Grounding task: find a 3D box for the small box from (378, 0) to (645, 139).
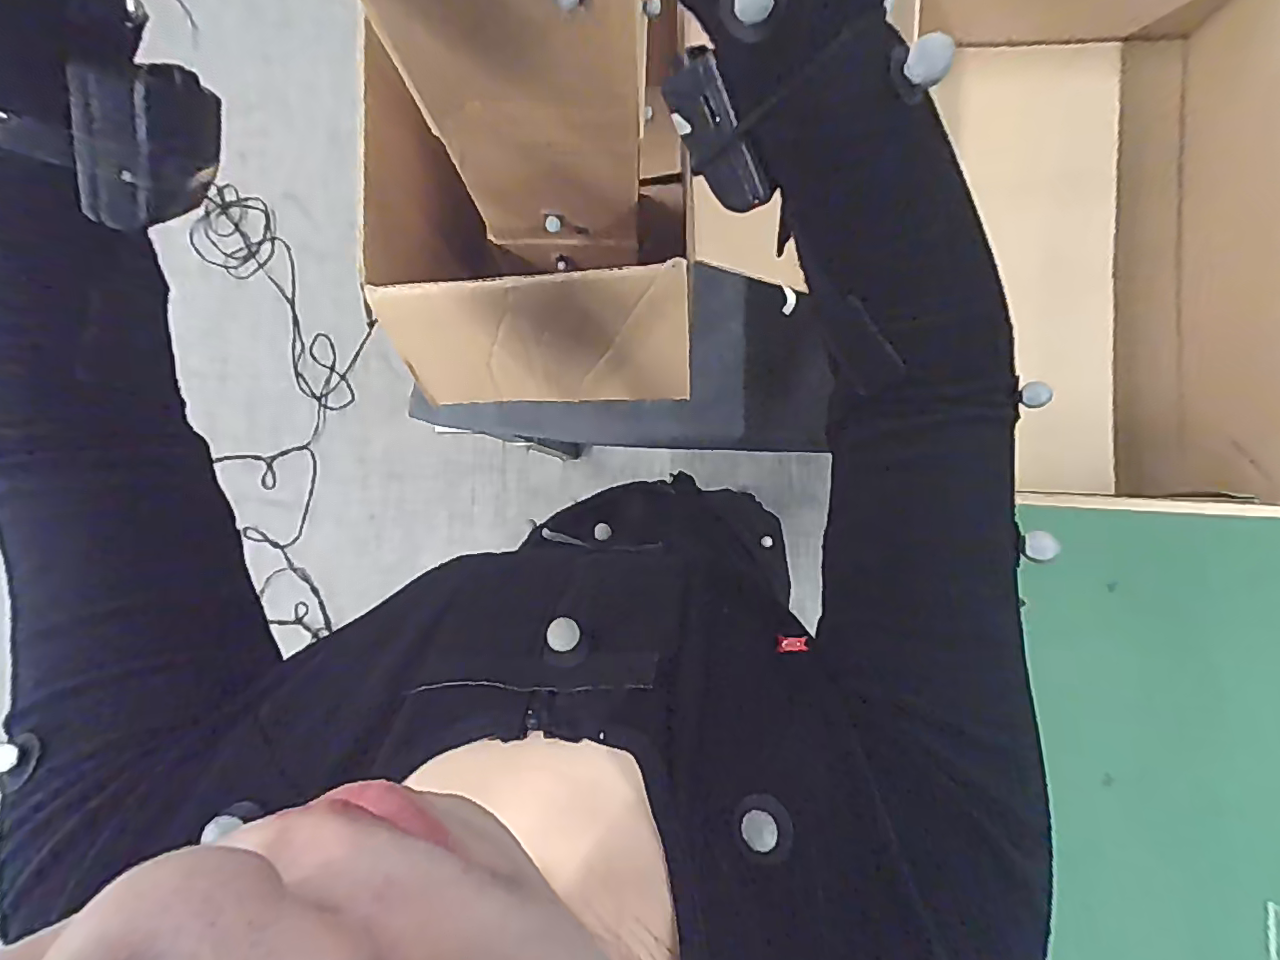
[{"bbox_3d":[-0.084,-0.371,0.377,0.179,0.176,0.168,2,87,-1],"label":"small box"}]
